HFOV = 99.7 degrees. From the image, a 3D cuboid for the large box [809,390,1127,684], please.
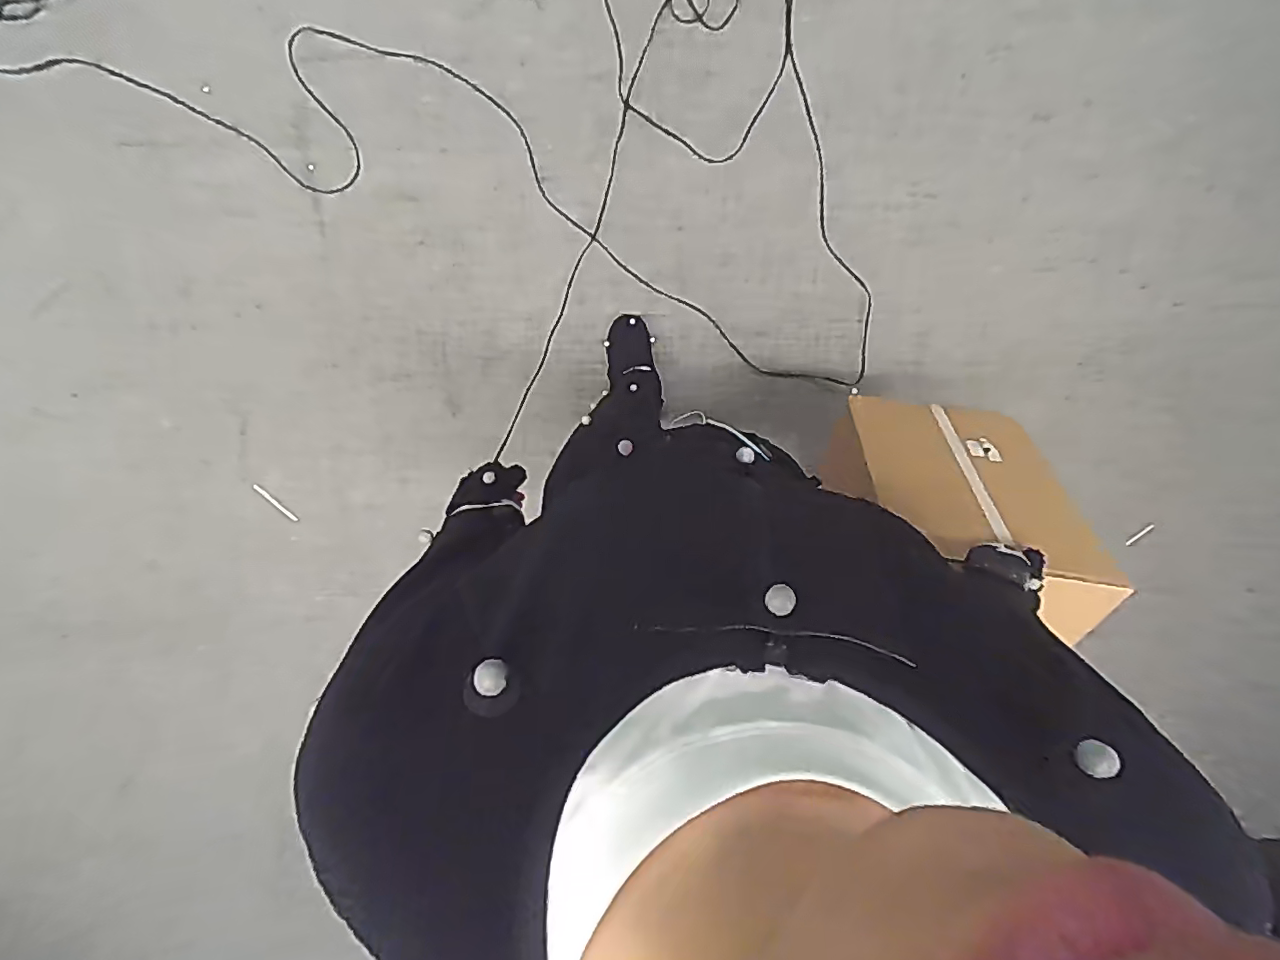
[{"bbox_3d":[0.508,0.090,0.962,0.320,0.408,0.320,9,132,3],"label":"large box"}]
